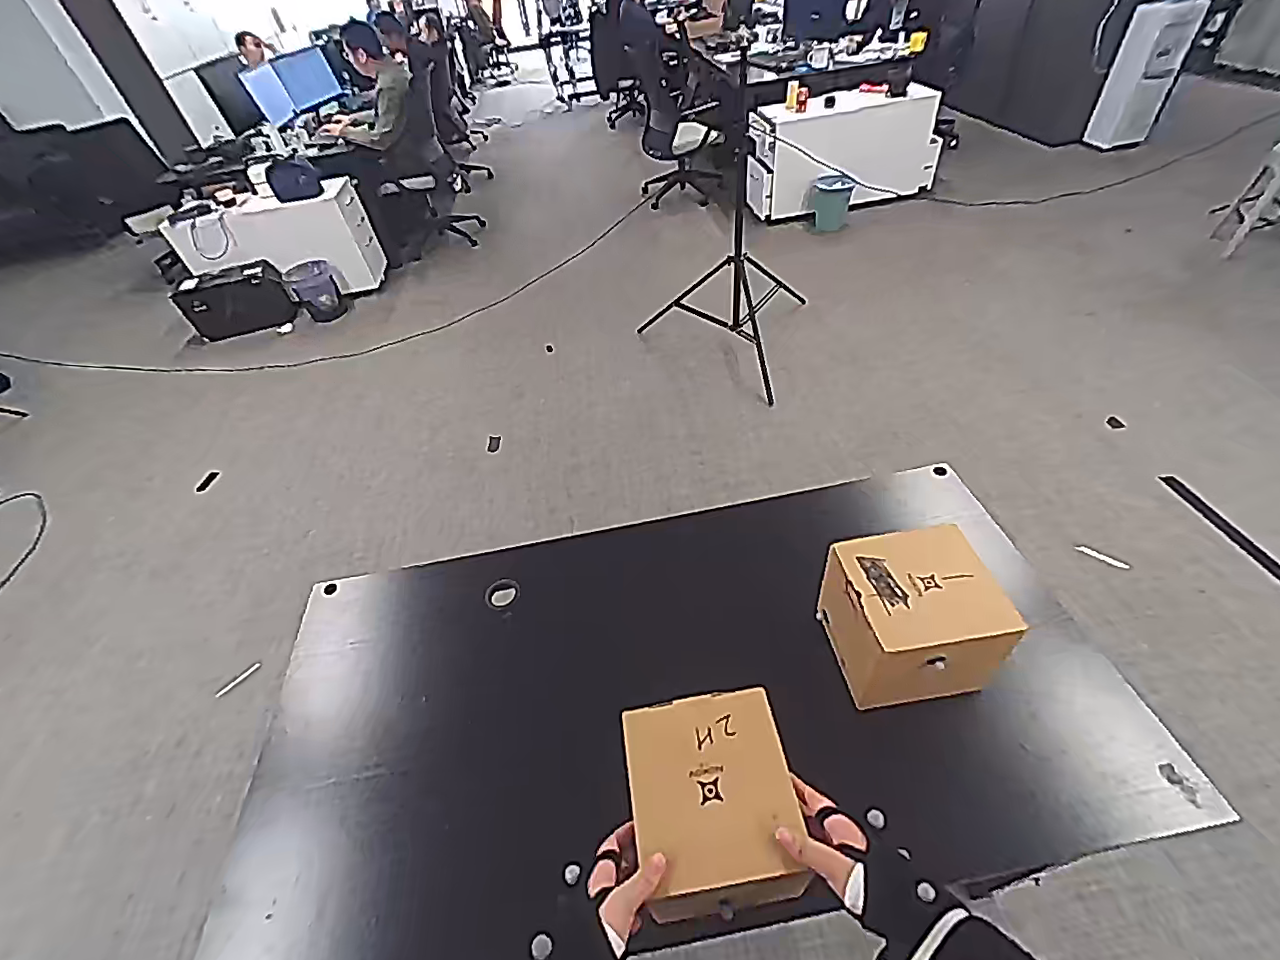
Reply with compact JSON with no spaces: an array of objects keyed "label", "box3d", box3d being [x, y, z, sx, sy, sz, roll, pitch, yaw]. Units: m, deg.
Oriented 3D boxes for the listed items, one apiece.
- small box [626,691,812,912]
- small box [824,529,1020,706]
[{"label":"small box","box3d":[0.083,0.371,0.619,0.168,0.176,0.179,-10,45,-1]},{"label":"small box","box3d":[0.366,0.194,0.748,0.179,0.176,0.168,-9,45,0]}]
